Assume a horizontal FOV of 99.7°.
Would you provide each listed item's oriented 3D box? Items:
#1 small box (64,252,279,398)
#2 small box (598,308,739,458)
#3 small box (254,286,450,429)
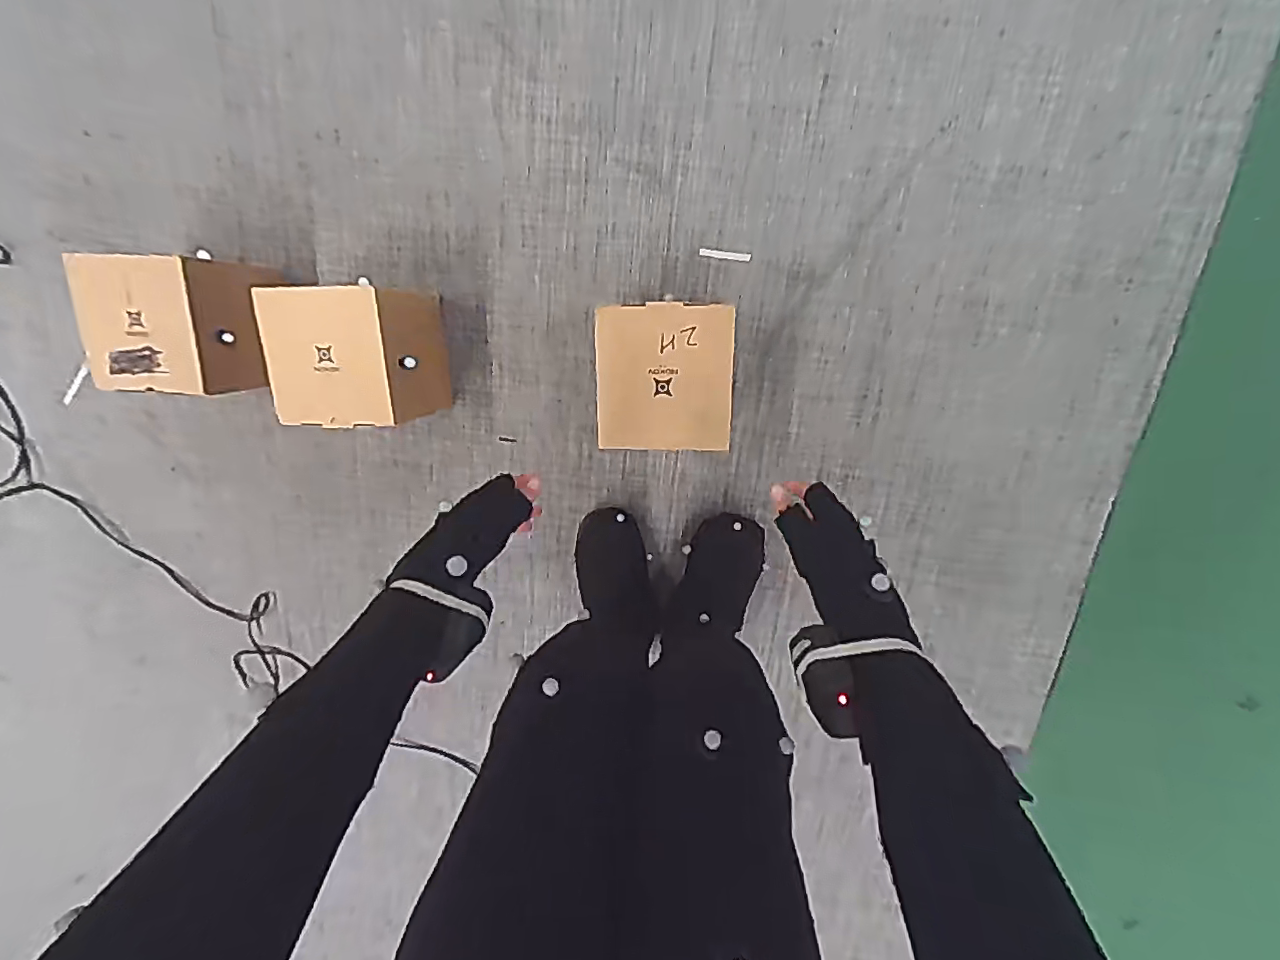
[{"bbox_3d":[-0.636,-0.219,0.769,0.168,0.176,0.179,4,106,5],"label":"small box"},{"bbox_3d":[0.038,-0.137,0.721,0.168,0.176,0.179,1,107,4],"label":"small box"},{"bbox_3d":[-0.385,-0.174,0.756,0.168,0.176,0.179,1,107,6],"label":"small box"}]
